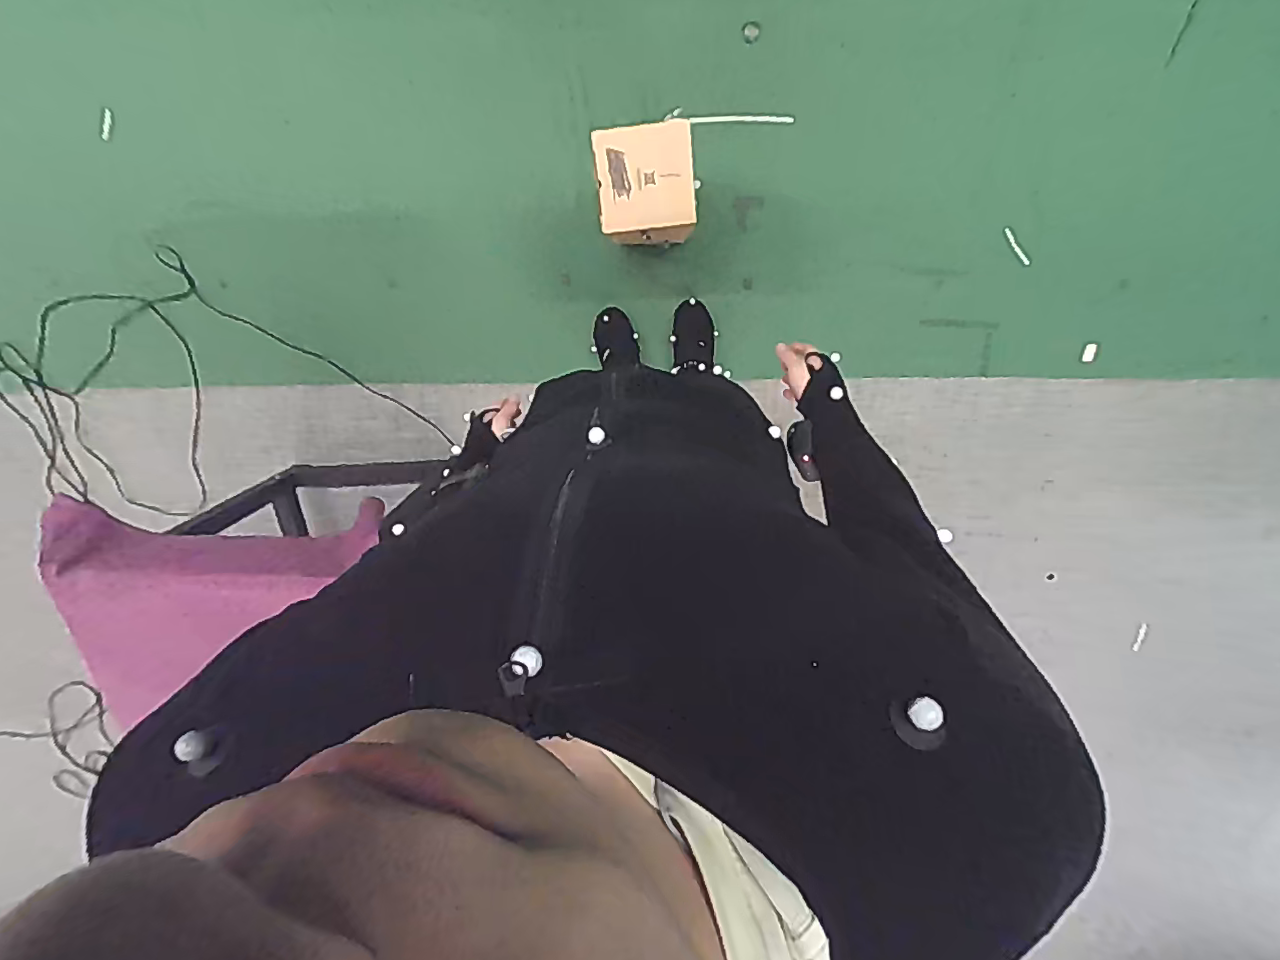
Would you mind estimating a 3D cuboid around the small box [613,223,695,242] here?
[{"bbox_3d":[0.028,-0.622,1.189,0.179,0.176,0.168,-3,111,5],"label":"small box"}]

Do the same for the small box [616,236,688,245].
[{"bbox_3d":[0.030,-0.678,1.341,0.179,0.176,0.168,0,111,3],"label":"small box"}]

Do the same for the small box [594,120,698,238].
[{"bbox_3d":[0.017,-0.565,1.035,0.179,0.176,0.168,-4,111,4],"label":"small box"}]
